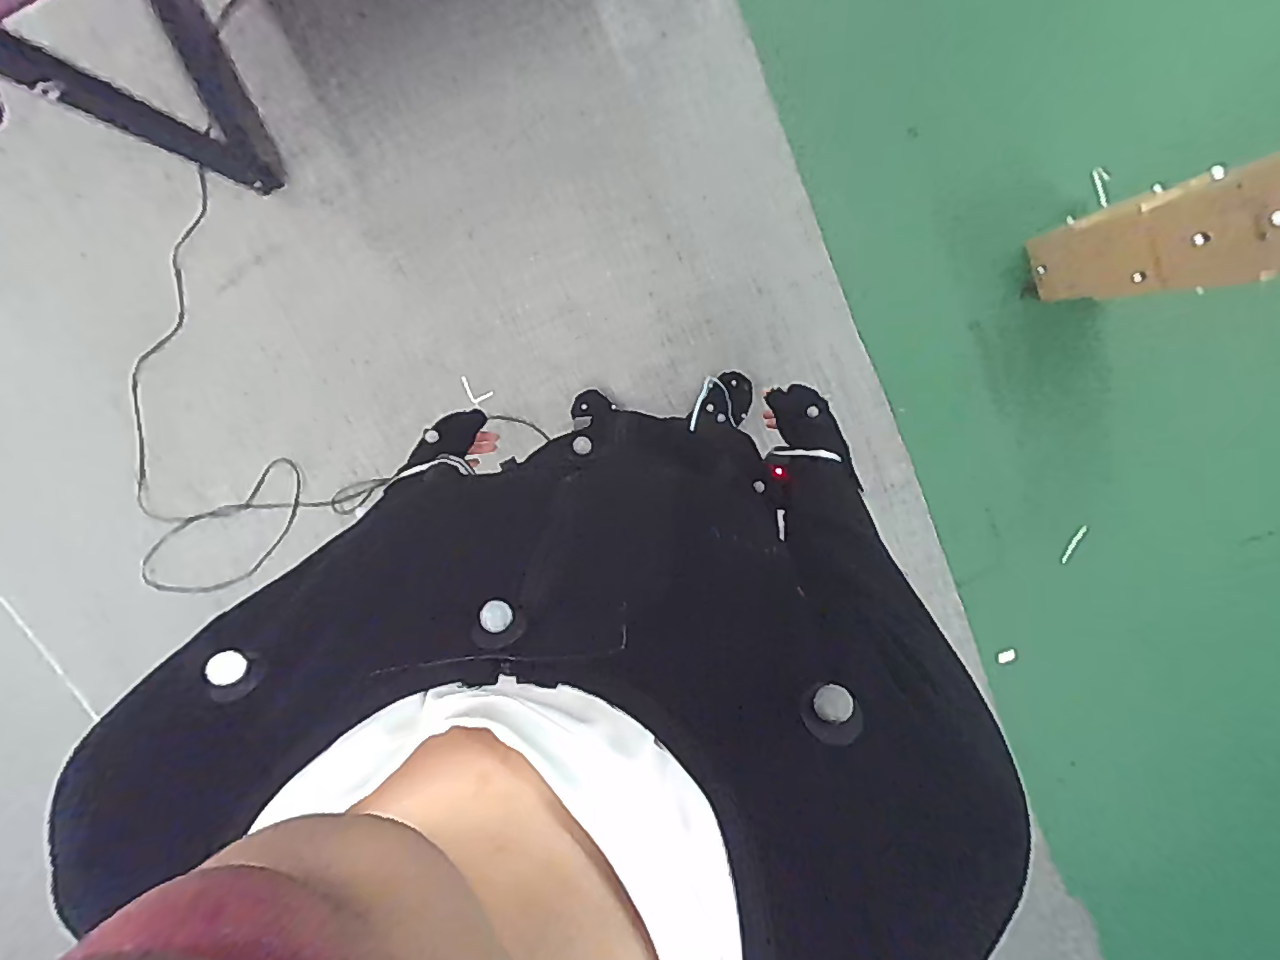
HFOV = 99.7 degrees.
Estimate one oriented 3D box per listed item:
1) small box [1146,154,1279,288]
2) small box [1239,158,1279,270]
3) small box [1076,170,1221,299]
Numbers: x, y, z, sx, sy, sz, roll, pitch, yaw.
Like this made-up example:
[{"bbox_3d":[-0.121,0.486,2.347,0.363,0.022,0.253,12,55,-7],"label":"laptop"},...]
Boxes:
[{"bbox_3d":[1.073,-0.460,0.966,0.168,0.176,0.179,-25,101,6],"label":"small box"},{"bbox_3d":[1.071,-0.432,0.803,0.179,0.176,0.168,-20,101,5],"label":"small box"},{"bbox_3d":[1.063,-0.497,1.126,0.168,0.176,0.179,-24,102,6],"label":"small box"}]
